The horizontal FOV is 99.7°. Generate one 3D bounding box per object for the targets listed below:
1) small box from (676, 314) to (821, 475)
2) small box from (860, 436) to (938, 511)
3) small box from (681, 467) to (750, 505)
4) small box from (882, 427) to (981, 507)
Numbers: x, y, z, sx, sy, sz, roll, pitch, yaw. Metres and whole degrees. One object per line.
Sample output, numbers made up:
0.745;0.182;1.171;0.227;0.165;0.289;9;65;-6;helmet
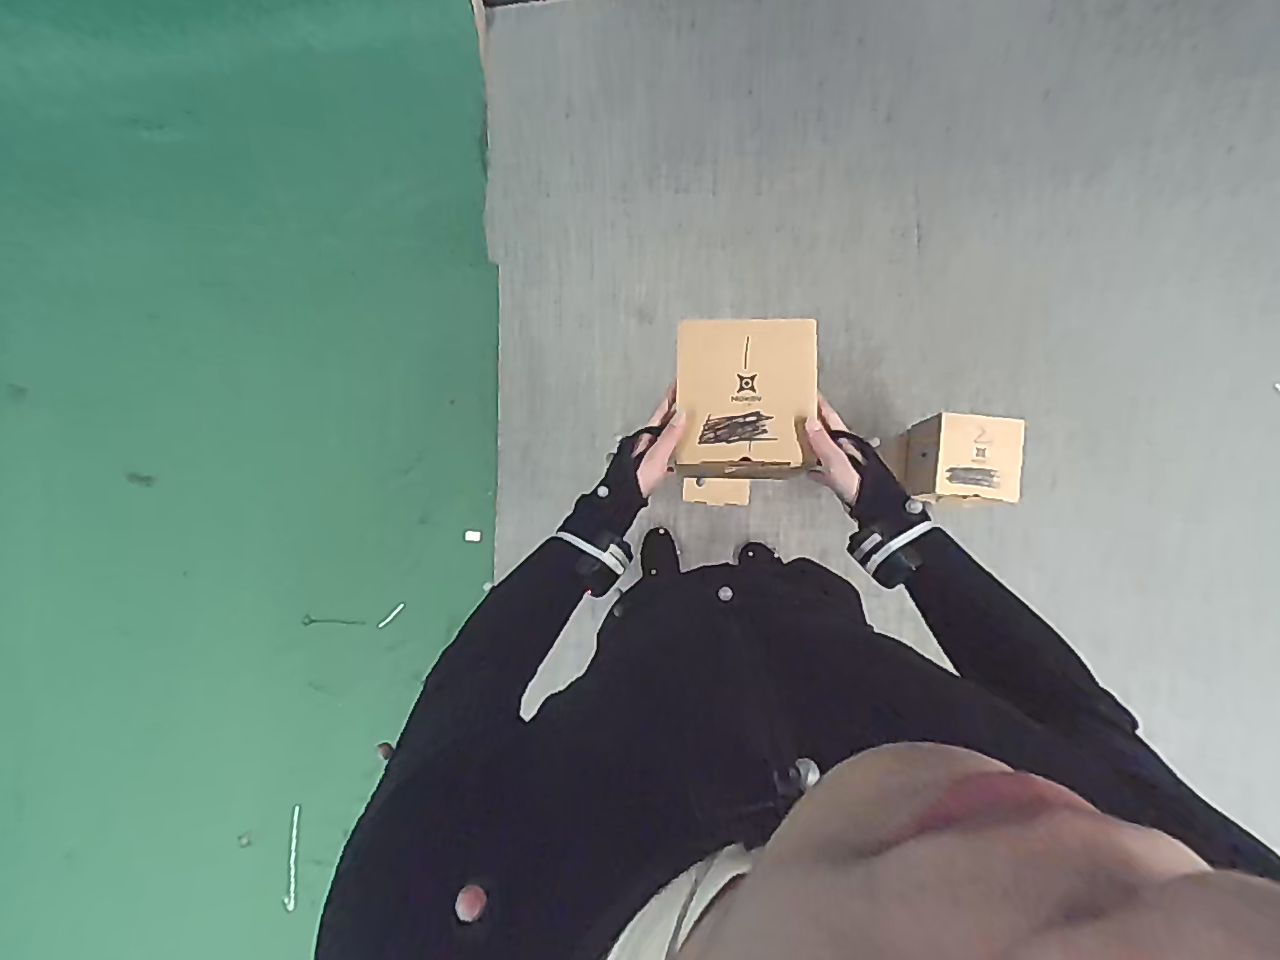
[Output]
0.136;-0.100;0.708;0.168;0.176;0.179;1;84;6;small box
0.733;-0.014;1.514;0.168;0.176;0.179;11;88;9;small box
0.201;-0.030;1.414;0.168;0.176;0.179;4;88;7;small box
0.722;-0.028;1.355;0.168;0.176;0.179;6;87;6;small box
